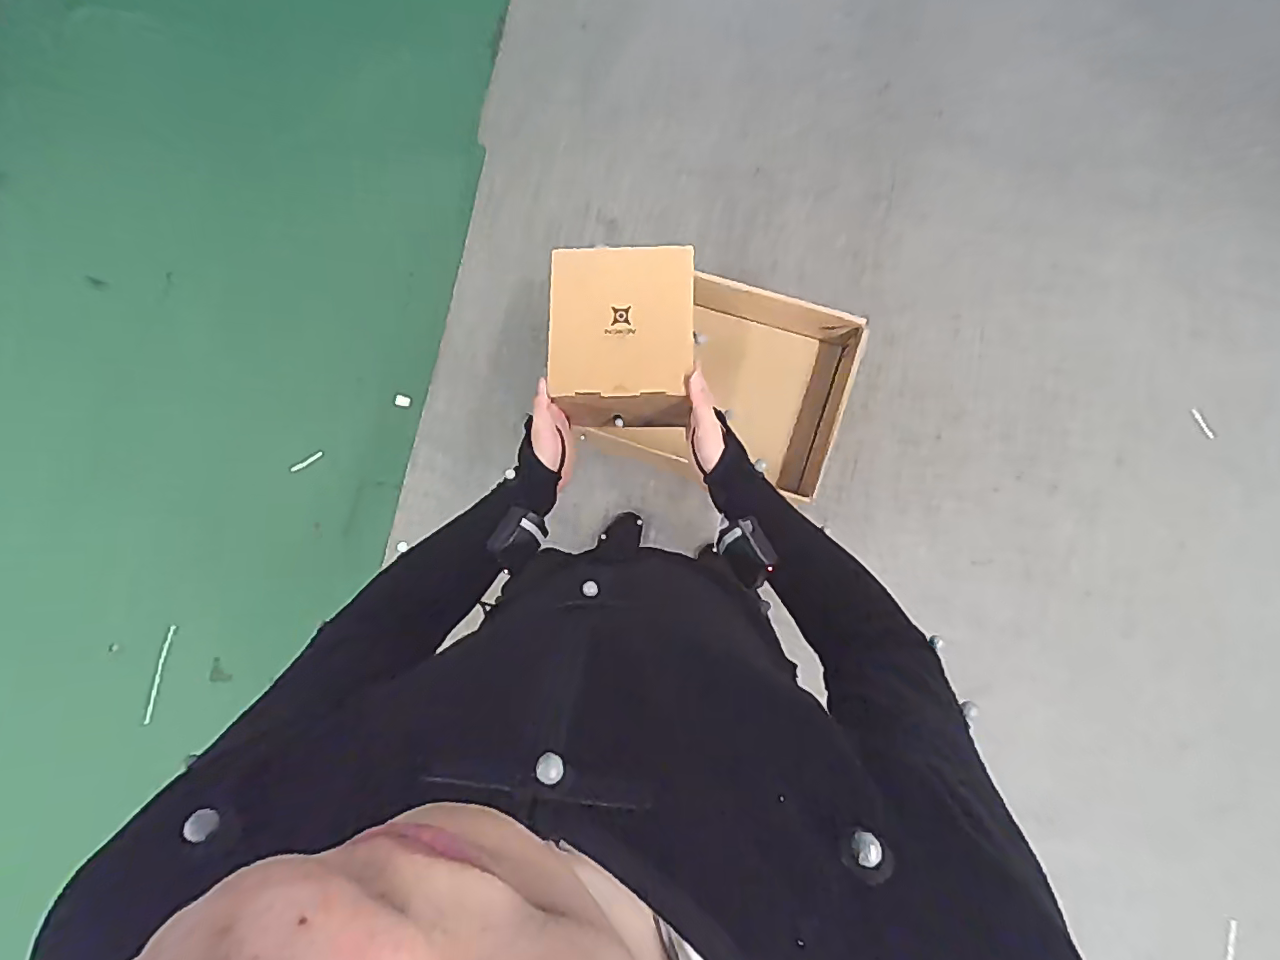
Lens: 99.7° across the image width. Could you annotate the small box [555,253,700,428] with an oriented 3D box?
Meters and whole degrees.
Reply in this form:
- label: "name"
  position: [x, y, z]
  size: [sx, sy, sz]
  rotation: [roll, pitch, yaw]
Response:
- label: "small box"
  position: [-0.012, -0.169, 0.697]
  size: [0.168, 0.176, 0.179]
  rotation: [0, 86, 2]
